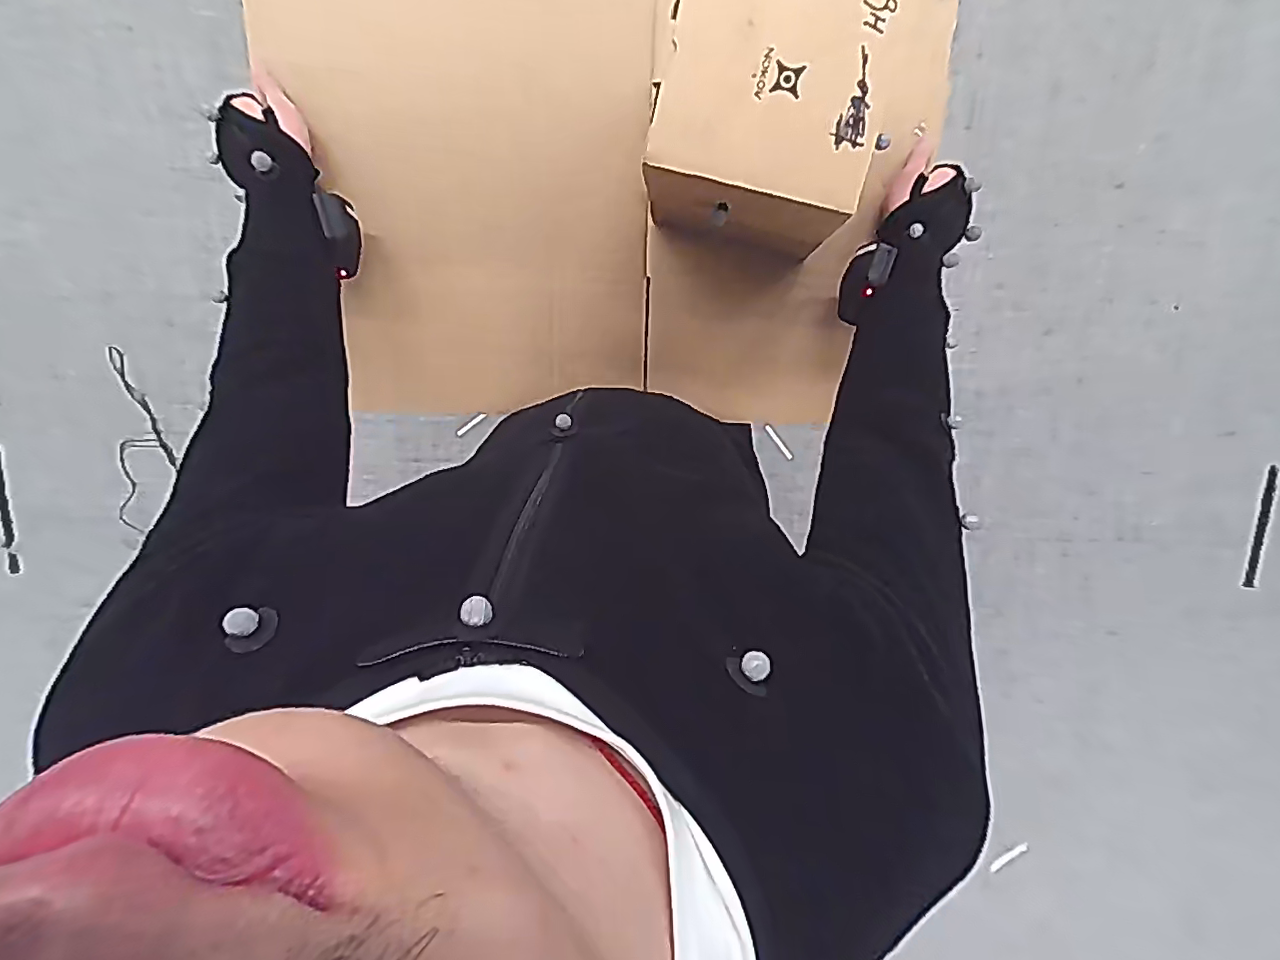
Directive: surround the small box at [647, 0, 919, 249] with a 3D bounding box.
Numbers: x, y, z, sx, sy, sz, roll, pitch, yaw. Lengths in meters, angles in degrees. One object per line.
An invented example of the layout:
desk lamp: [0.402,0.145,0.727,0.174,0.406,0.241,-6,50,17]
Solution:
small box: [0.115,-0.329,0.498,0.179,0.176,0.168,15,102,2]
